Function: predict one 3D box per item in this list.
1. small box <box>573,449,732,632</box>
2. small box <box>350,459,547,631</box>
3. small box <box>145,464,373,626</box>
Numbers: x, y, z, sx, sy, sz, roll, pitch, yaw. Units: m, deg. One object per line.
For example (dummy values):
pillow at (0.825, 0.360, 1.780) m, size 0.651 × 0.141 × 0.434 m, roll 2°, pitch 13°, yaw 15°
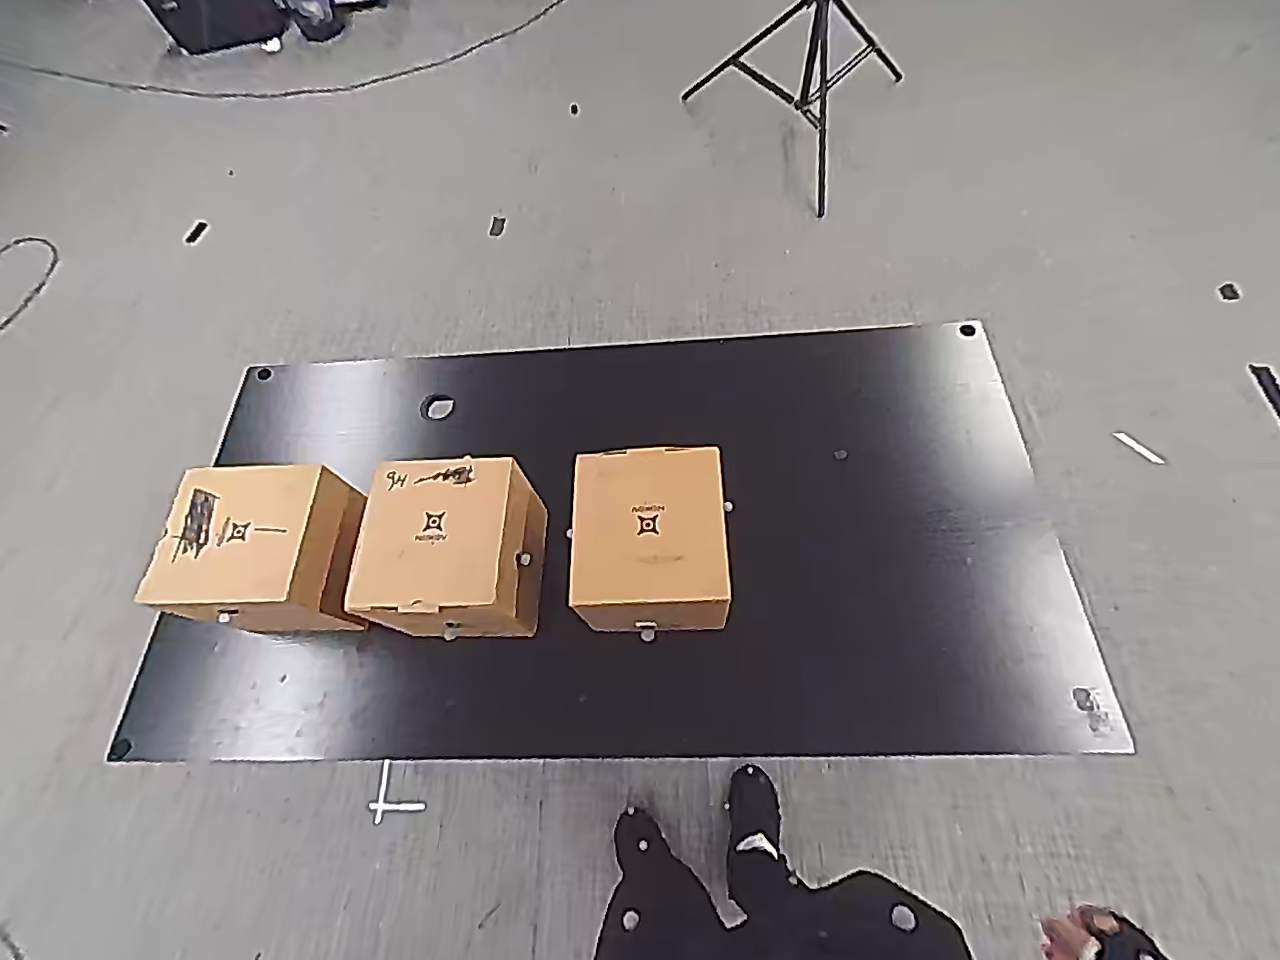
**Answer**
small box at (0.018, 0.080, 0.656) m, size 0.168 × 0.176 × 0.179 m, roll -3°, pitch 66°, yaw 5°
small box at (-0.219, 0.089, 0.672) m, size 0.168 × 0.176 × 0.179 m, roll -1°, pitch 65°, yaw 5°
small box at (-0.451, 0.090, 0.692) m, size 0.179 × 0.176 × 0.168 m, roll -2°, pitch 65°, yaw 4°
